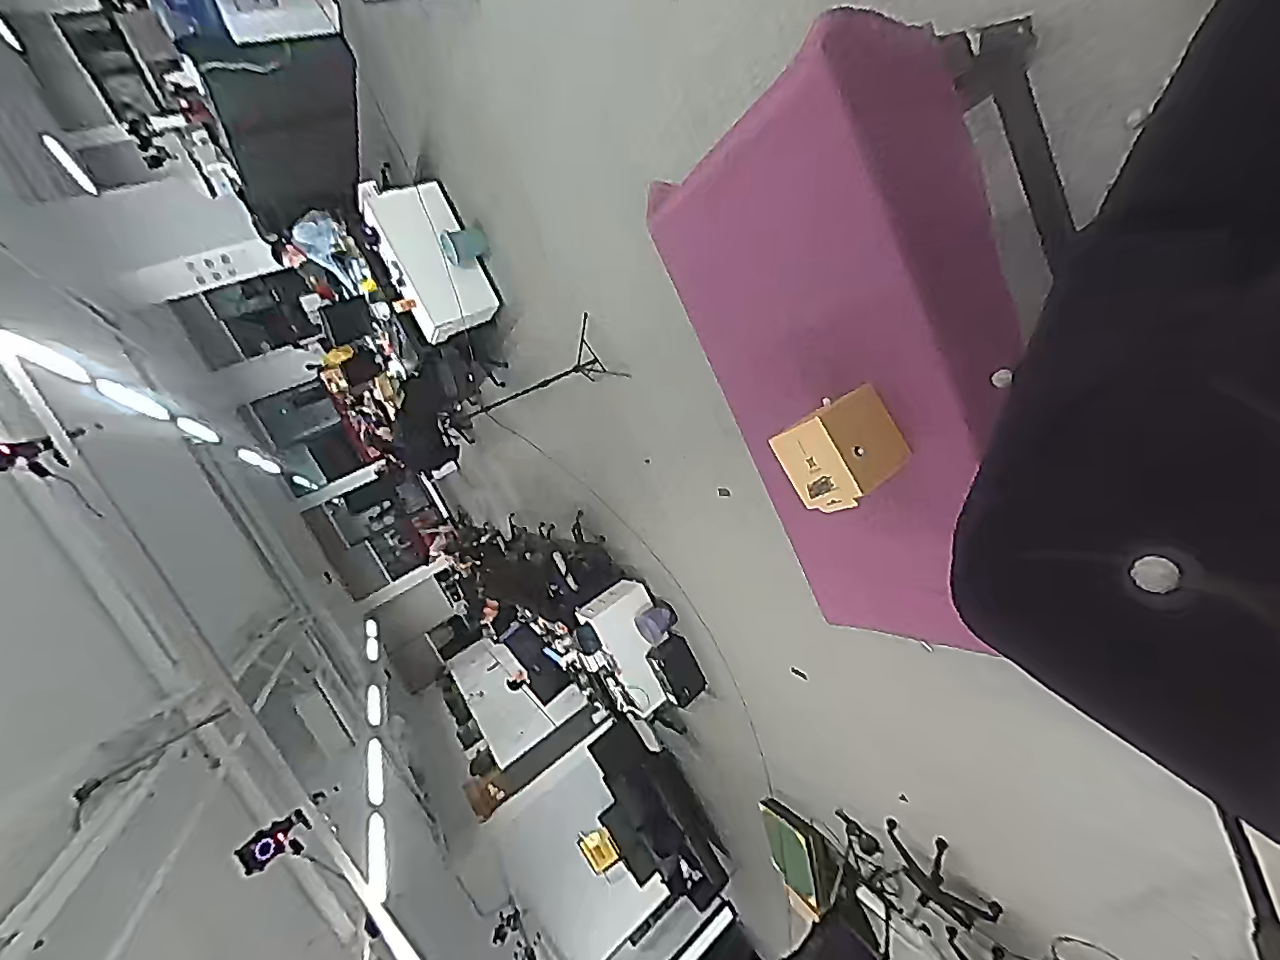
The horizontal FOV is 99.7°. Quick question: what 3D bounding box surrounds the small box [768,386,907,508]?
[{"bbox_3d":[0.410,-0.067,1.121,0.179,0.176,0.168,60,155,0],"label":"small box"}]
